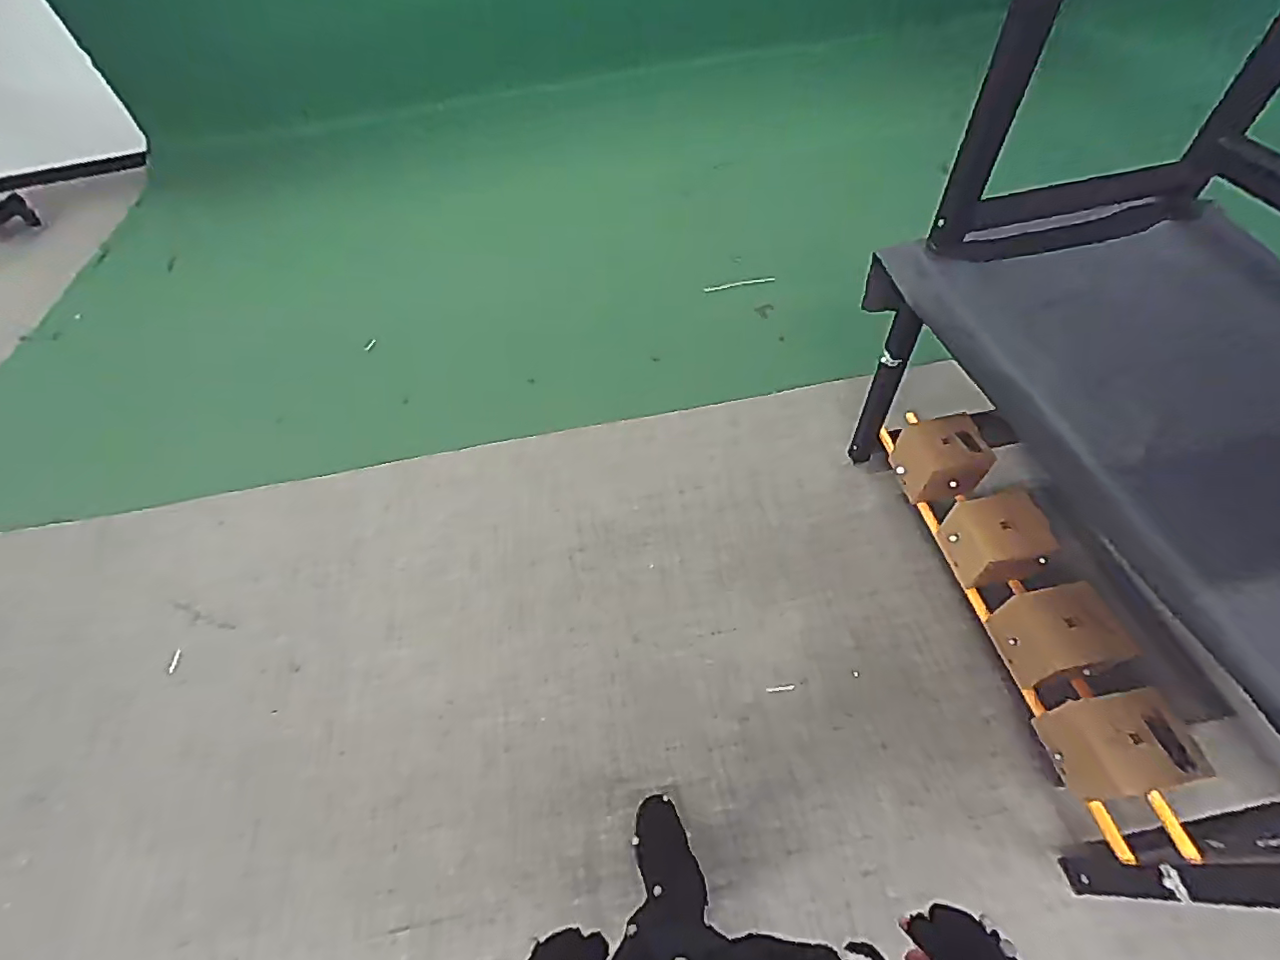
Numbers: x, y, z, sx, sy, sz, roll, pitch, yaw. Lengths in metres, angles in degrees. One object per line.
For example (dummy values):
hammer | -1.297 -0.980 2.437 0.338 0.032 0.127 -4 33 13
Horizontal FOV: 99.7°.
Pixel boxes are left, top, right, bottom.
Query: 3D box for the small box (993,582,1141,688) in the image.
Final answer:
small box | 0.929 0.349 1.205 0.179 0.176 0.168 -11 56 -1

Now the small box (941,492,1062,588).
small box | 0.884 0.155 1.349 0.179 0.176 0.168 -11 55 0
